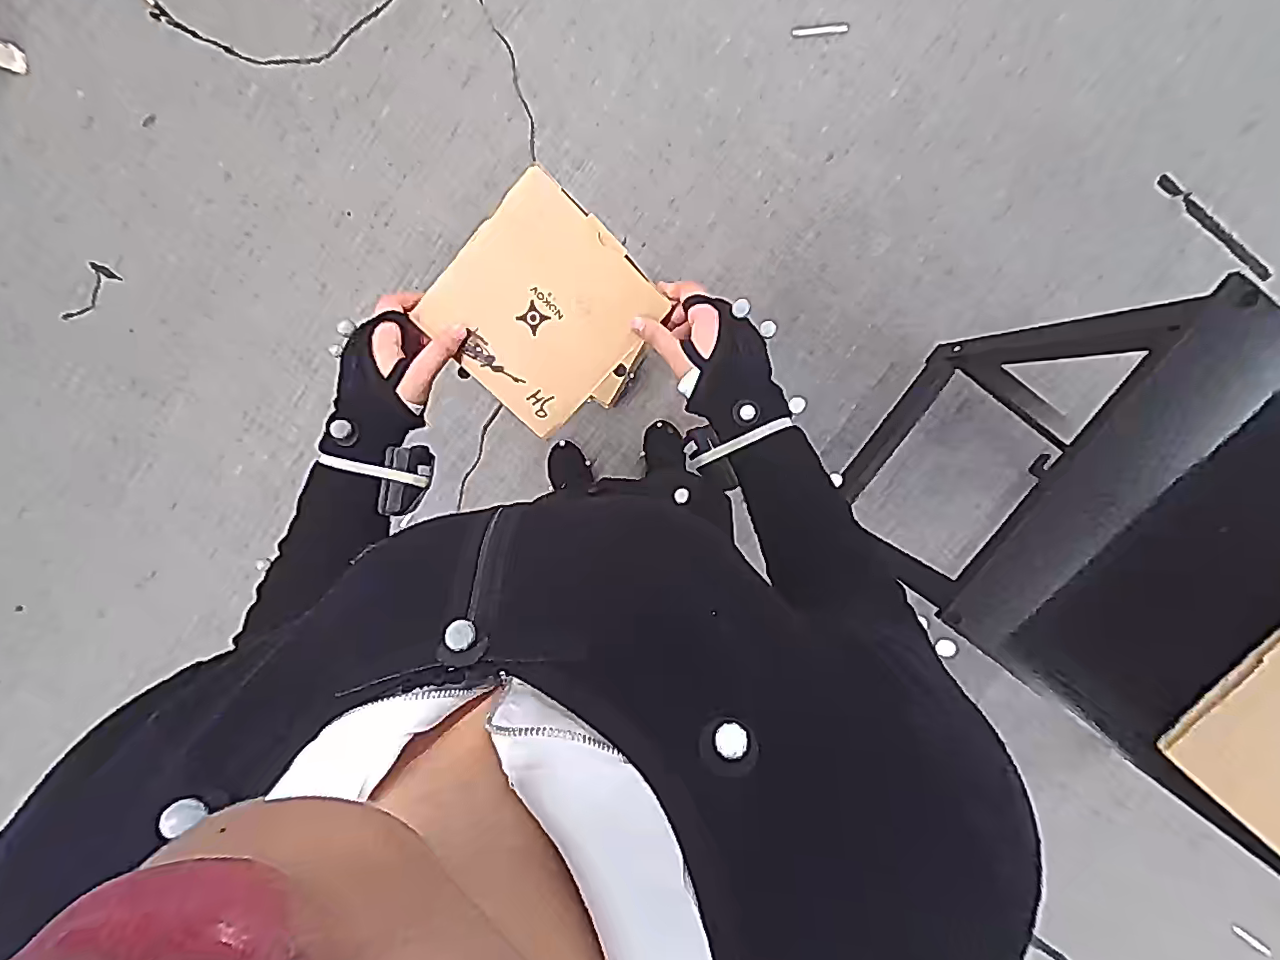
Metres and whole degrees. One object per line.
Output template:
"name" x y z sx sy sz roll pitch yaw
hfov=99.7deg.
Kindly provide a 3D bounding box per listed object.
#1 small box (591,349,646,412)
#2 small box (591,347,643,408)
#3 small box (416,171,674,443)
"small box" -0.100 -0.290 1.369 0.168 0.176 0.179 32 97 -4
"small box" -0.098 -0.275 1.207 0.168 0.176 0.179 29 95 -5
"small box" -0.087 -0.169 0.558 0.168 0.176 0.179 43 102 -11
